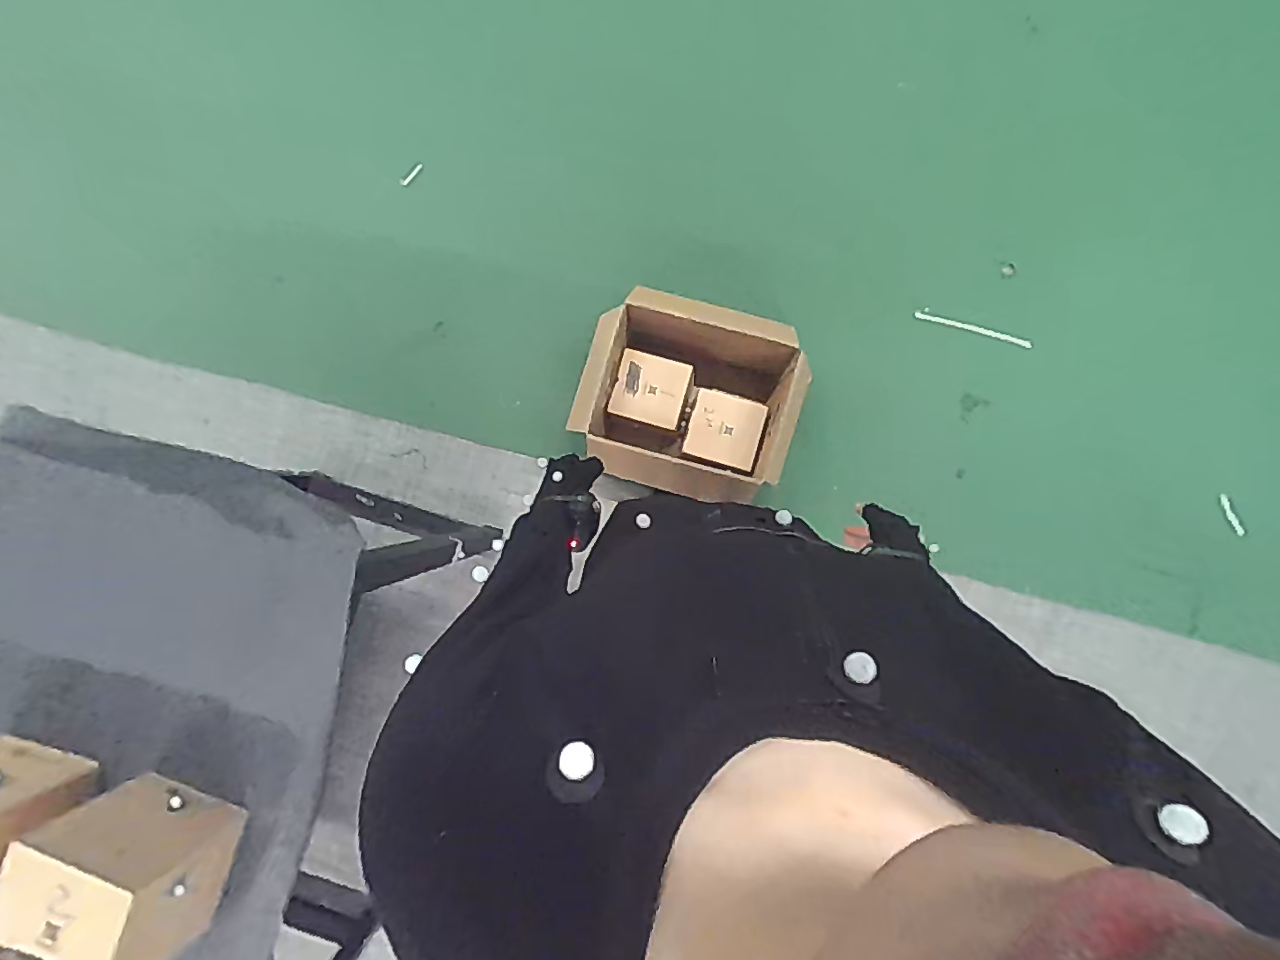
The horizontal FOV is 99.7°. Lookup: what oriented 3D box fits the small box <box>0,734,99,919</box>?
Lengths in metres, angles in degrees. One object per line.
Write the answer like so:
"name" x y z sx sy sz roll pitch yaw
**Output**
"small box" -0.888 0.470 0.718 0.168 0.176 0.179 14 91 3
